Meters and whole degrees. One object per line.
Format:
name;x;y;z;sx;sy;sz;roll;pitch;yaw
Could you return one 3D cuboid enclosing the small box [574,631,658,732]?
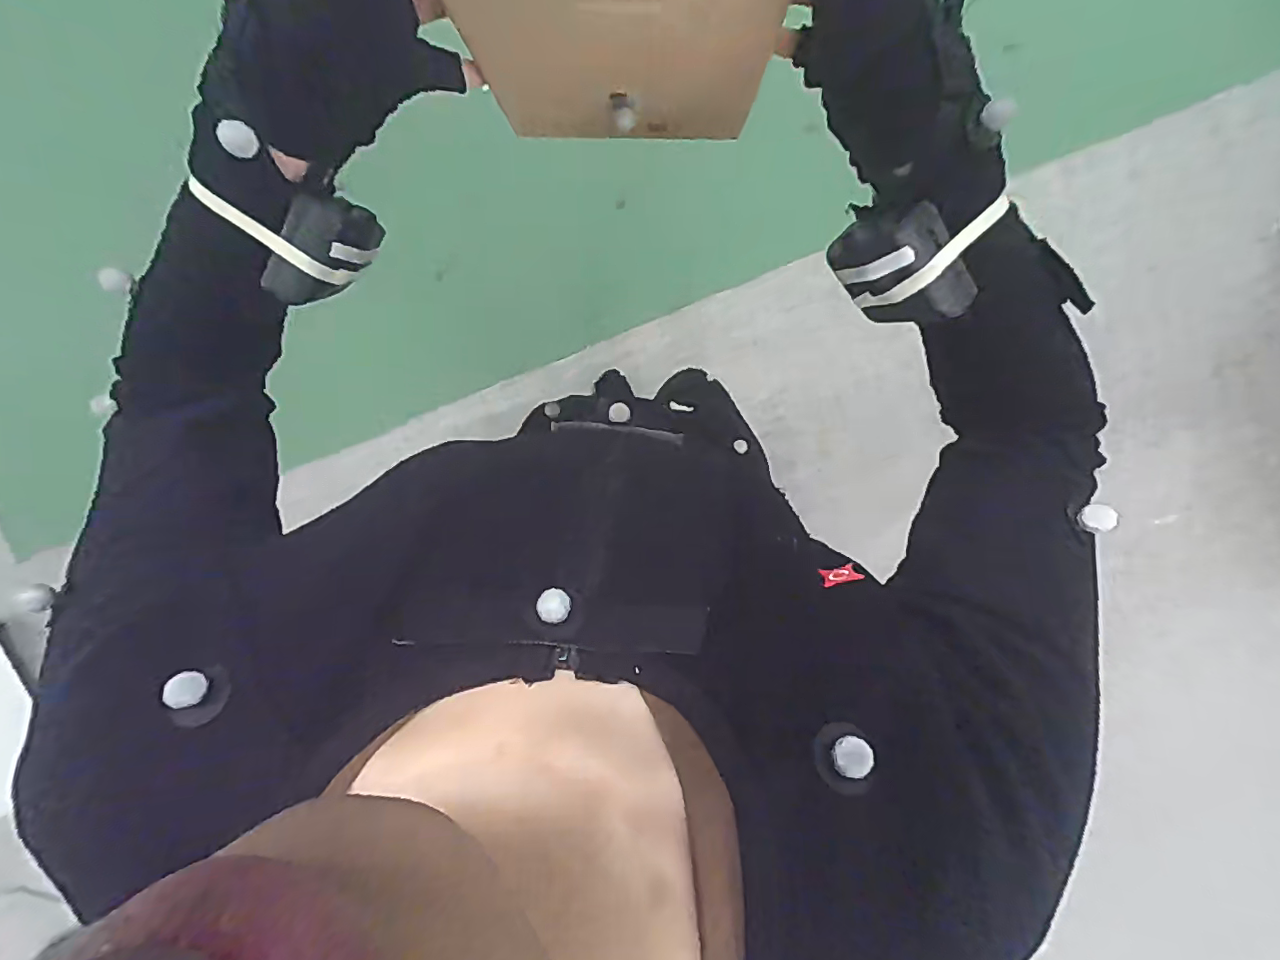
small box;-0.060;0.549;1.490;0.179;0.176;0.168;-25;99;4
